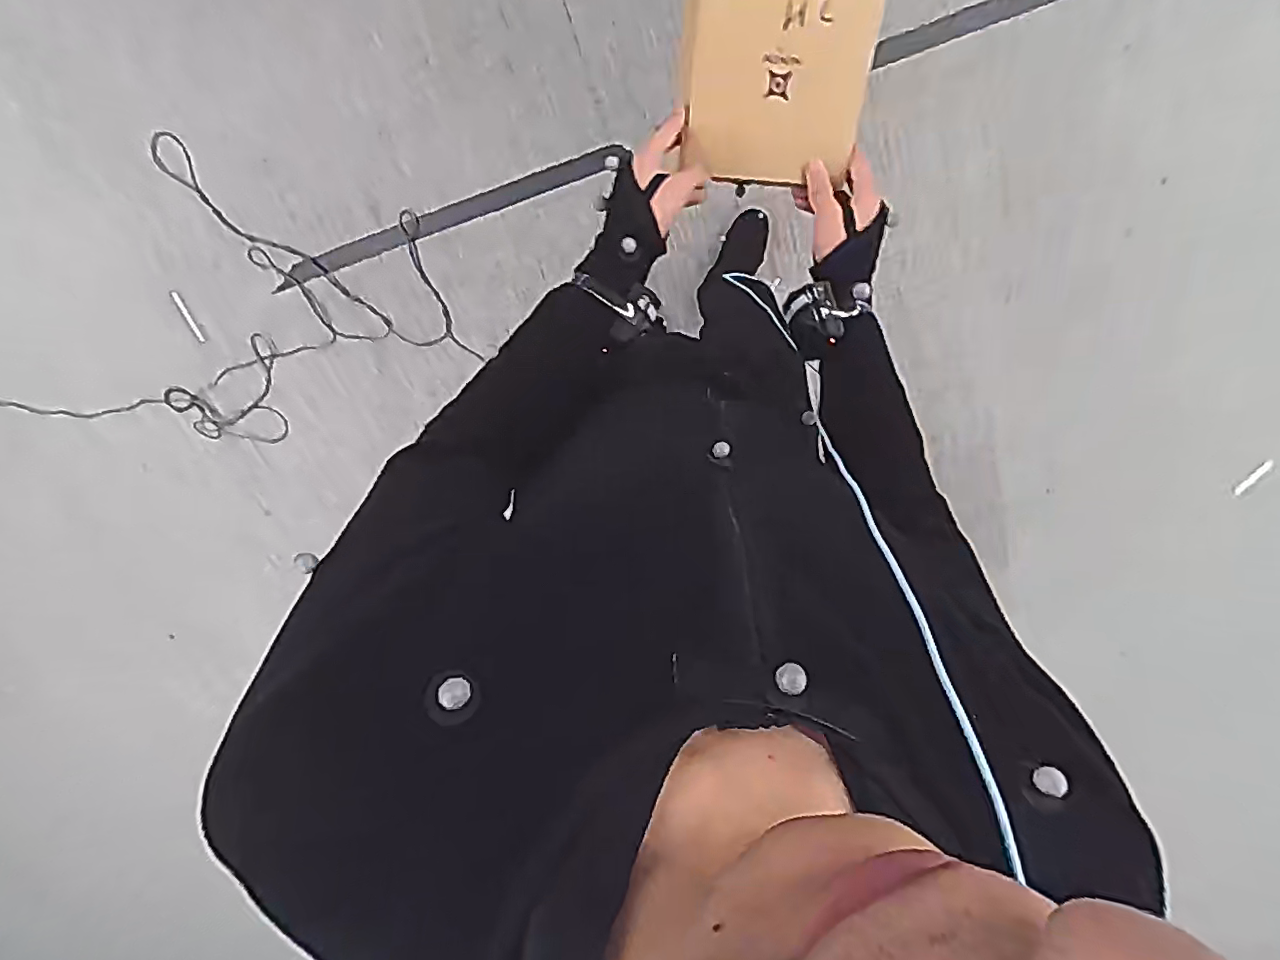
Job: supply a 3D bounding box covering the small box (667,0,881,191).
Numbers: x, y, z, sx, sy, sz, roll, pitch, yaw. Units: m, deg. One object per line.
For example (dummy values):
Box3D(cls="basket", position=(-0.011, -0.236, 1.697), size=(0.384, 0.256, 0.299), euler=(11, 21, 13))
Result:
Box3D(cls="small box", position=(0.121, -0.407, 0.563), size=(0.168, 0.176, 0.179), euler=(2, 118, -4))
